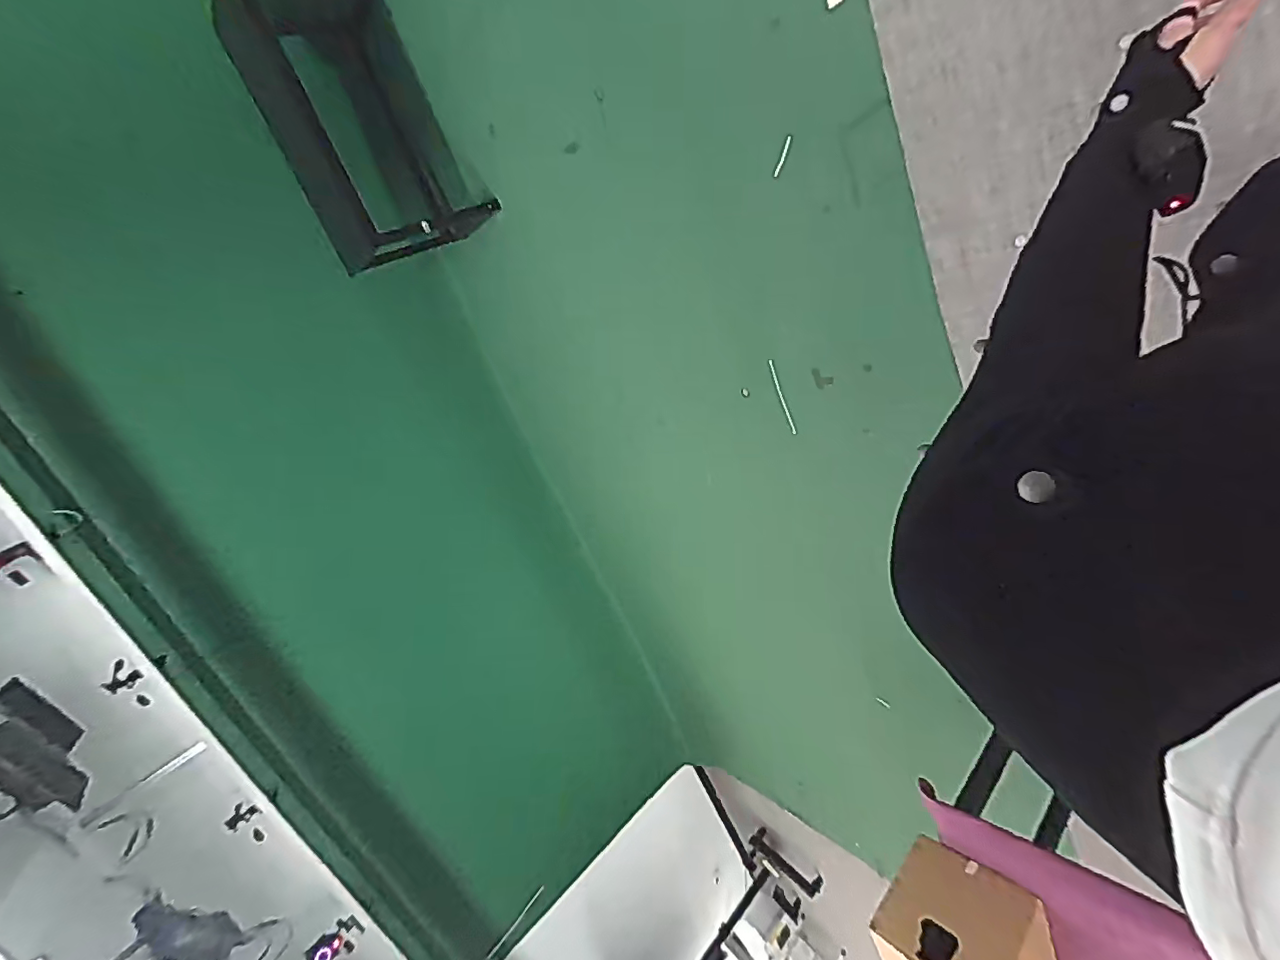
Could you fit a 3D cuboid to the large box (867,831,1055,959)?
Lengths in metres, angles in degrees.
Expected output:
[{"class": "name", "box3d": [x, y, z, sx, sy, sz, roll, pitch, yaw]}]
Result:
[{"class": "large box", "box3d": [0.882, 1.280, 1.462, 0.320, 0.320, 0.408, 1, 120, 53]}]
